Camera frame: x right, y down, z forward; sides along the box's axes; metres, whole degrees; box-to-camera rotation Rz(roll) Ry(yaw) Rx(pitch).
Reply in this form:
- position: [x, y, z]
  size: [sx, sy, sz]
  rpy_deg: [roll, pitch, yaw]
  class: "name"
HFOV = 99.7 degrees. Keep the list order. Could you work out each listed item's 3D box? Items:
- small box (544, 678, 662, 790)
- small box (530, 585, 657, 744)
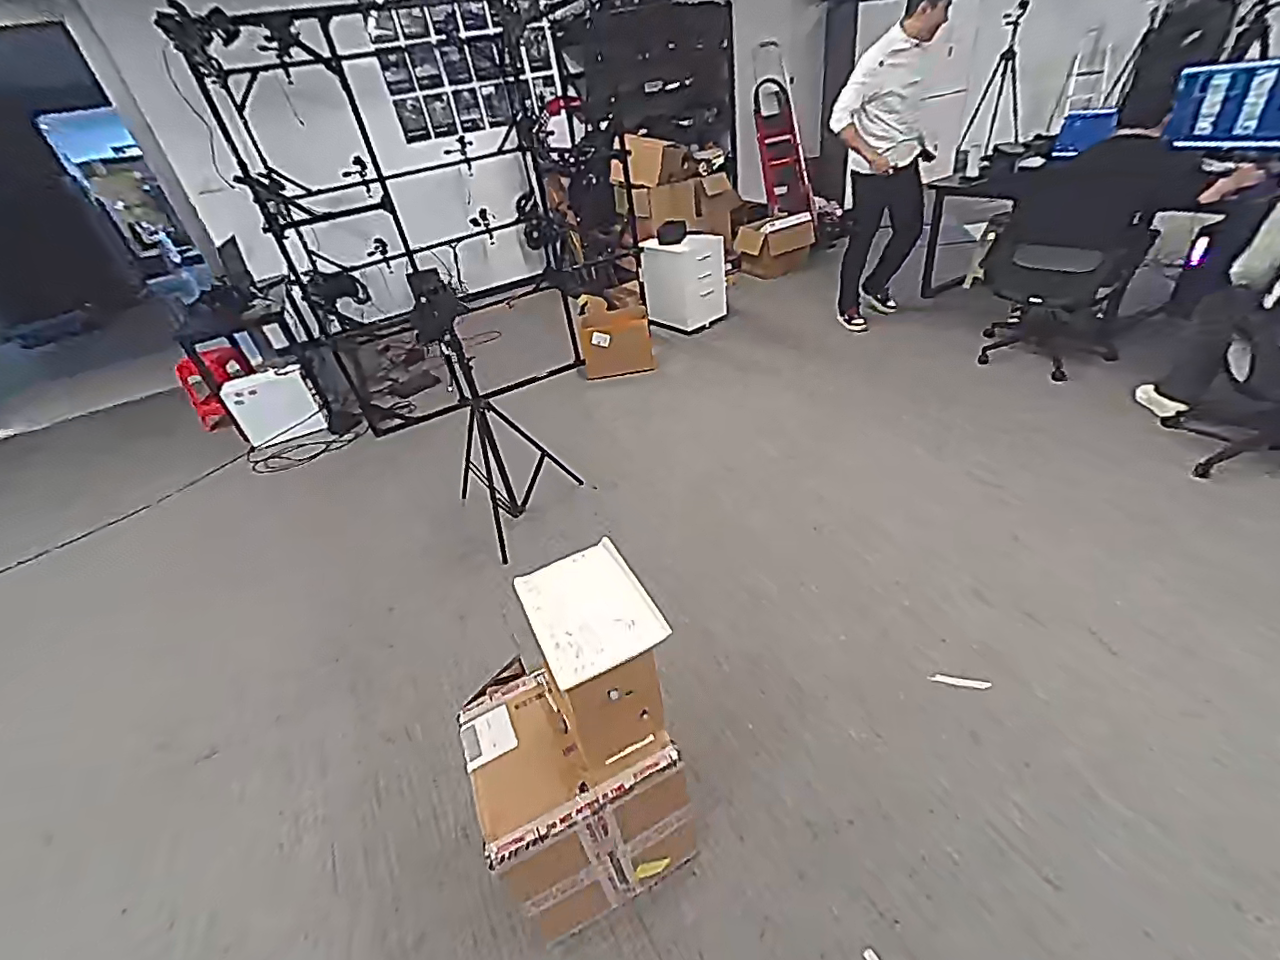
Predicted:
- position: [-0.067, 0.461, 1.063]
  size: [0.179, 0.176, 0.168]
  rpy_deg: [-24, 39, -20]
  class: "small box"
- position: [-0.081, 0.328, 0.968]
  size: [0.168, 0.176, 0.179]
  rpy_deg: [-21, 39, -18]
  class: "small box"
